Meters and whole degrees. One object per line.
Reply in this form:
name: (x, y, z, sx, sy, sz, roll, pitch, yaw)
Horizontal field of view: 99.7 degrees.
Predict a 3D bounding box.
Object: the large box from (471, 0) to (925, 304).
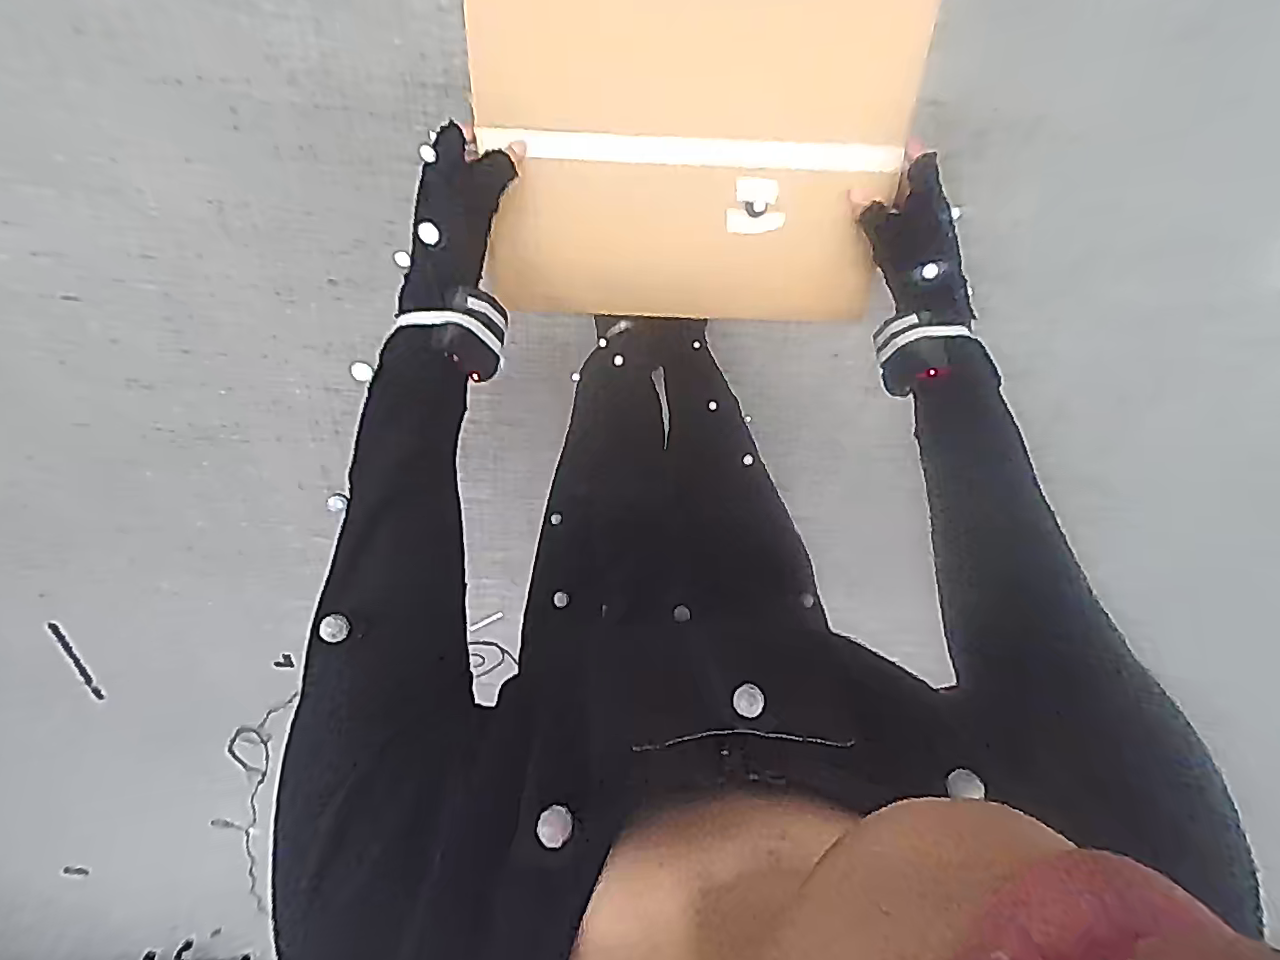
large box: (0.044, -0.404, 0.648, 0.408, 0.320, 0.320, 1, 121, -3)
